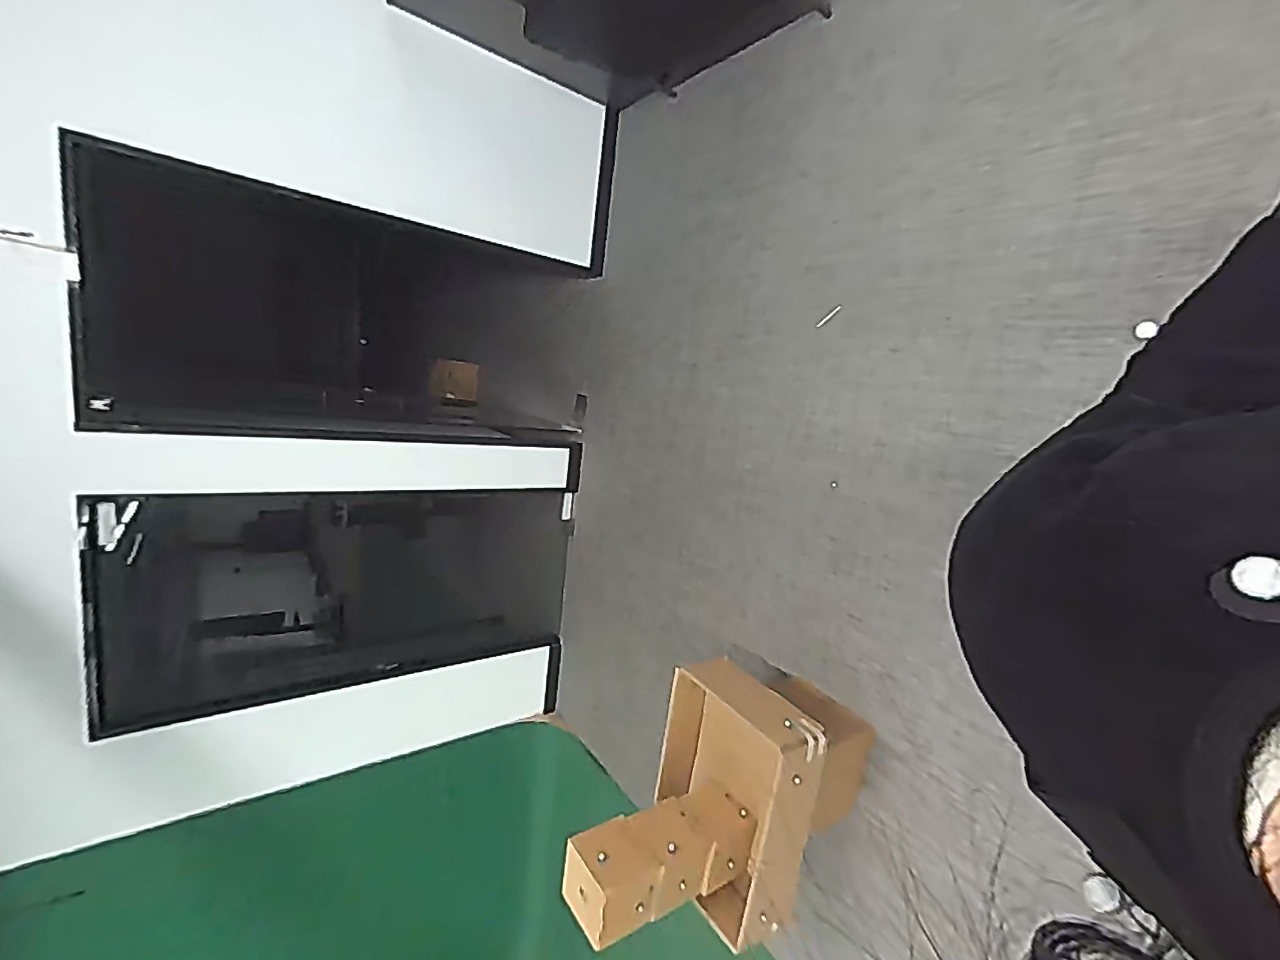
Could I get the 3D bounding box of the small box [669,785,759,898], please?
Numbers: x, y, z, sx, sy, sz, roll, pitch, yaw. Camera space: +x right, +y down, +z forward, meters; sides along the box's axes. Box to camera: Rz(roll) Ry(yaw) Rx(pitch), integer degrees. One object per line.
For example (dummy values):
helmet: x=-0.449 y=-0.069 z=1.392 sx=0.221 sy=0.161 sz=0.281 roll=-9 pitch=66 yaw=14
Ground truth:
small box: x=0.210 y=1.000 z=1.516 sx=0.168 sy=0.176 sz=0.179 roll=25 pitch=109 yaw=52

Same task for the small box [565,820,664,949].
small box: x=-0.066 y=0.986 z=1.342 sx=0.179 sy=0.176 sz=0.168 roll=20 pitch=106 yaw=52
